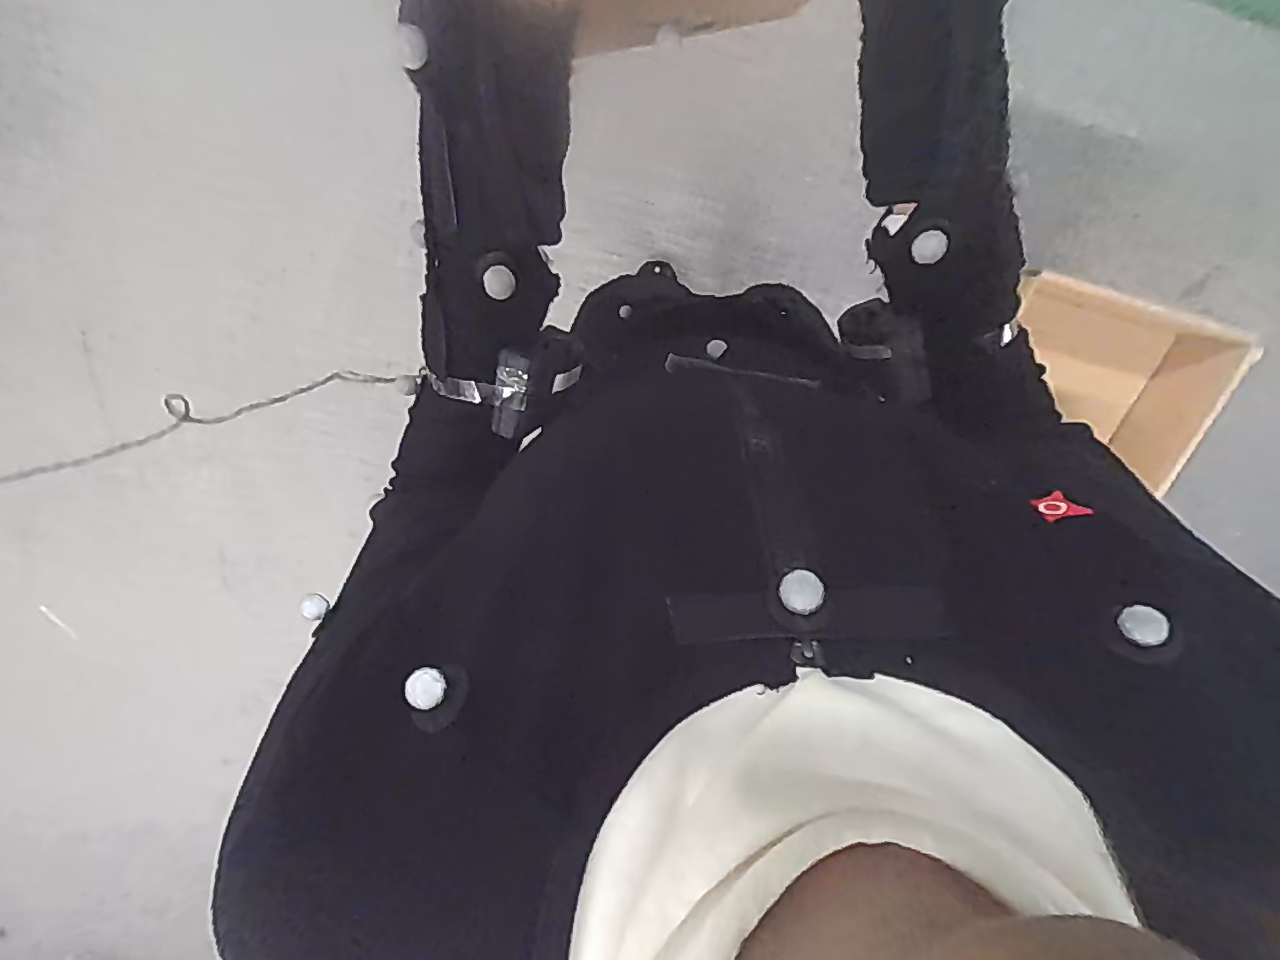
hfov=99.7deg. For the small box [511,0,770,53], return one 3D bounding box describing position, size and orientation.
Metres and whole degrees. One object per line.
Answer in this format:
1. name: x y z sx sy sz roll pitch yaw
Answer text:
1. small box: -0.001 -0.322 0.230 0.168 0.176 0.179 -11 118 1
